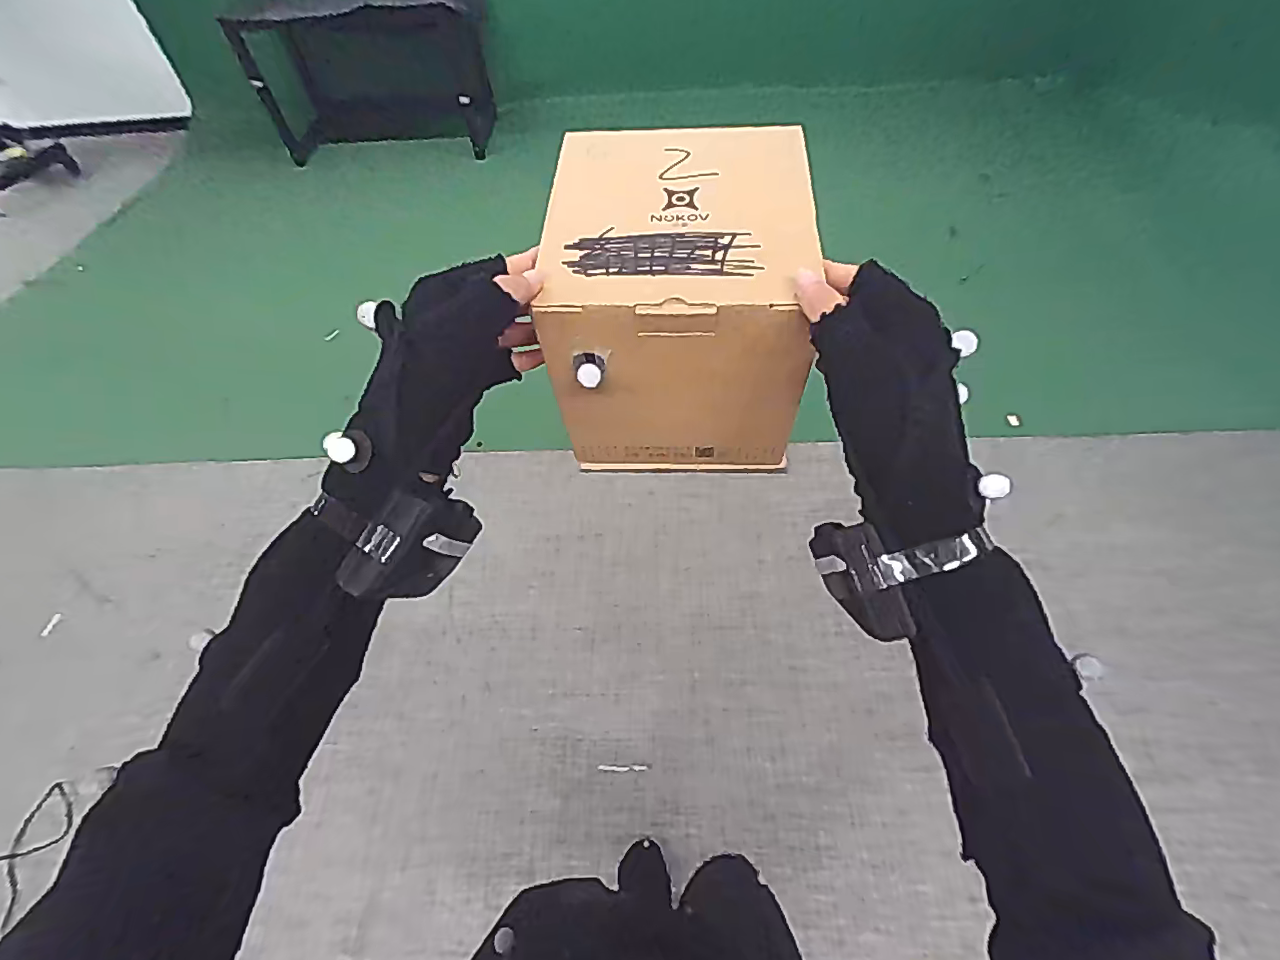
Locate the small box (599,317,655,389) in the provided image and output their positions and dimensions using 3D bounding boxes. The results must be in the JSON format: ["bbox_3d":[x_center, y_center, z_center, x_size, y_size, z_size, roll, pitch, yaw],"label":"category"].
[{"bbox_3d":[-0.037,-0.414,1.785,0.168,0.176,0.179,0,52,5],"label":"small box"}]
